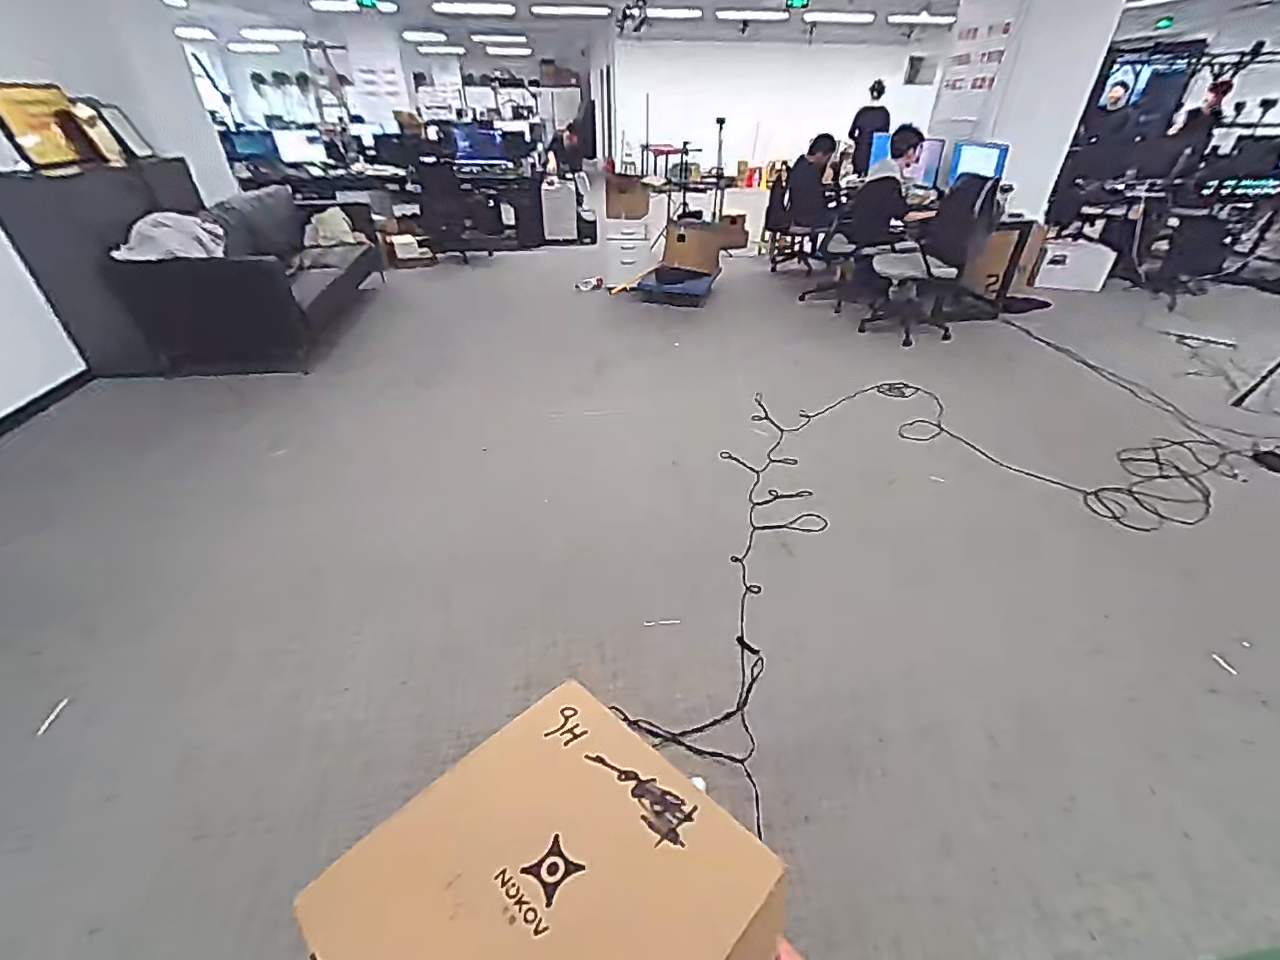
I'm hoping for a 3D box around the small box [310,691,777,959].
[{"bbox_3d":[-0.039,0.270,0.304,0.168,0.176,0.179,23,40,39],"label":"small box"}]
